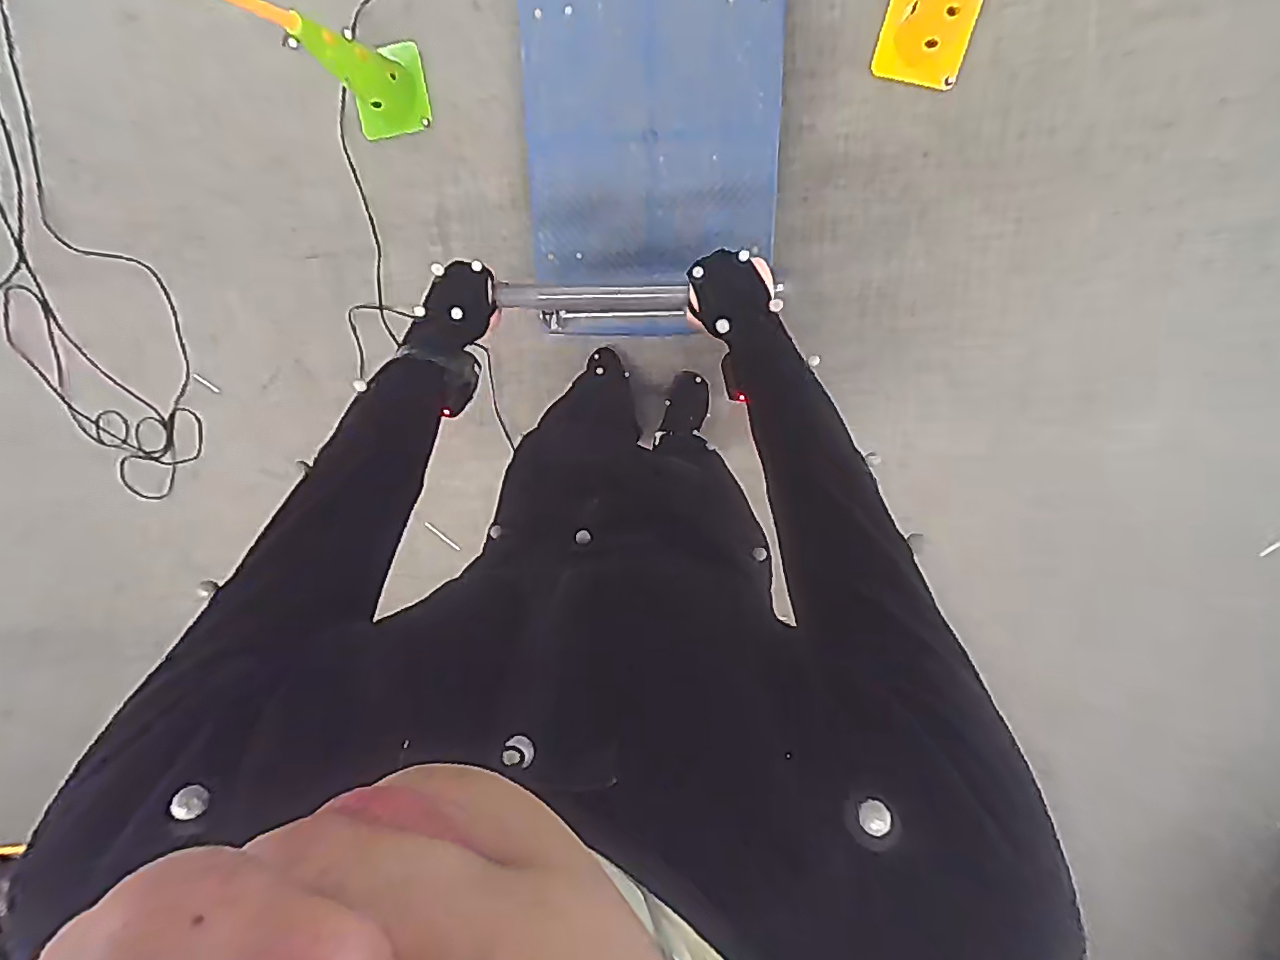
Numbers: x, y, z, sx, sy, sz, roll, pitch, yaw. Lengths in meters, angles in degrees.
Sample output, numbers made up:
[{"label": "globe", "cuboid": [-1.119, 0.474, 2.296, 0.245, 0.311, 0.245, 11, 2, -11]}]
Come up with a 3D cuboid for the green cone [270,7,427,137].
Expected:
[{"label": "green cone", "cuboid": [-0.687, -0.971, 1.241, 0.202, 0.368, 0.200, -5, 105, 10]}]
